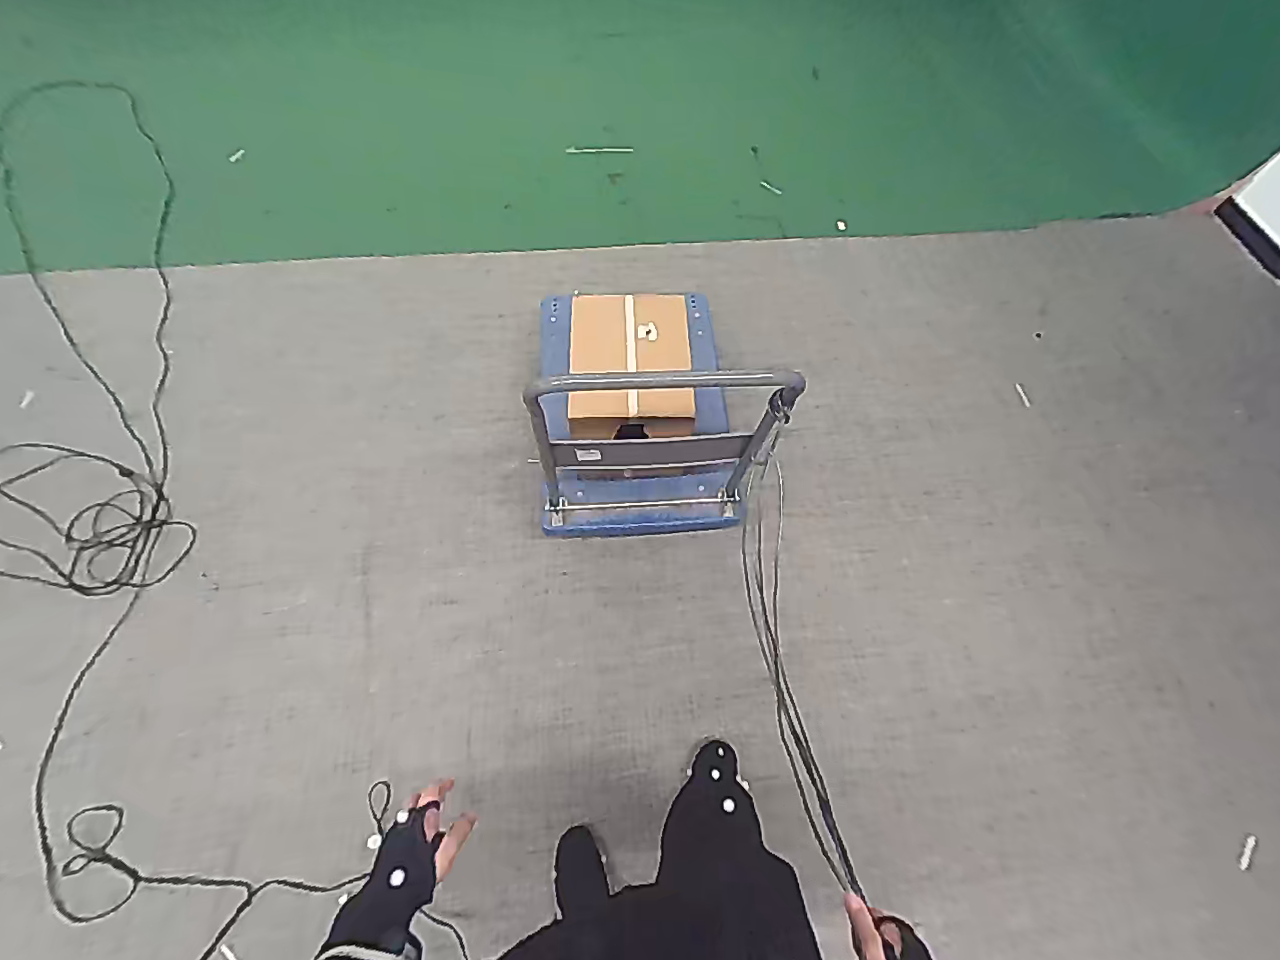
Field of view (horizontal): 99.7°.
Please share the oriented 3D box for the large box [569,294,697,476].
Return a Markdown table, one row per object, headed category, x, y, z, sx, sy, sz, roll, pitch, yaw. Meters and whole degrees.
| category | x | y | z | sx | sy | sz | roll | pitch | yaw |
| --- | --- | --- | --- | --- | --- | --- | --- | --- | --- |
| large box | -0.028 | -0.255 | 1.510 | 0.320 | 0.320 | 0.408 | 0 | 63 | -3 |
